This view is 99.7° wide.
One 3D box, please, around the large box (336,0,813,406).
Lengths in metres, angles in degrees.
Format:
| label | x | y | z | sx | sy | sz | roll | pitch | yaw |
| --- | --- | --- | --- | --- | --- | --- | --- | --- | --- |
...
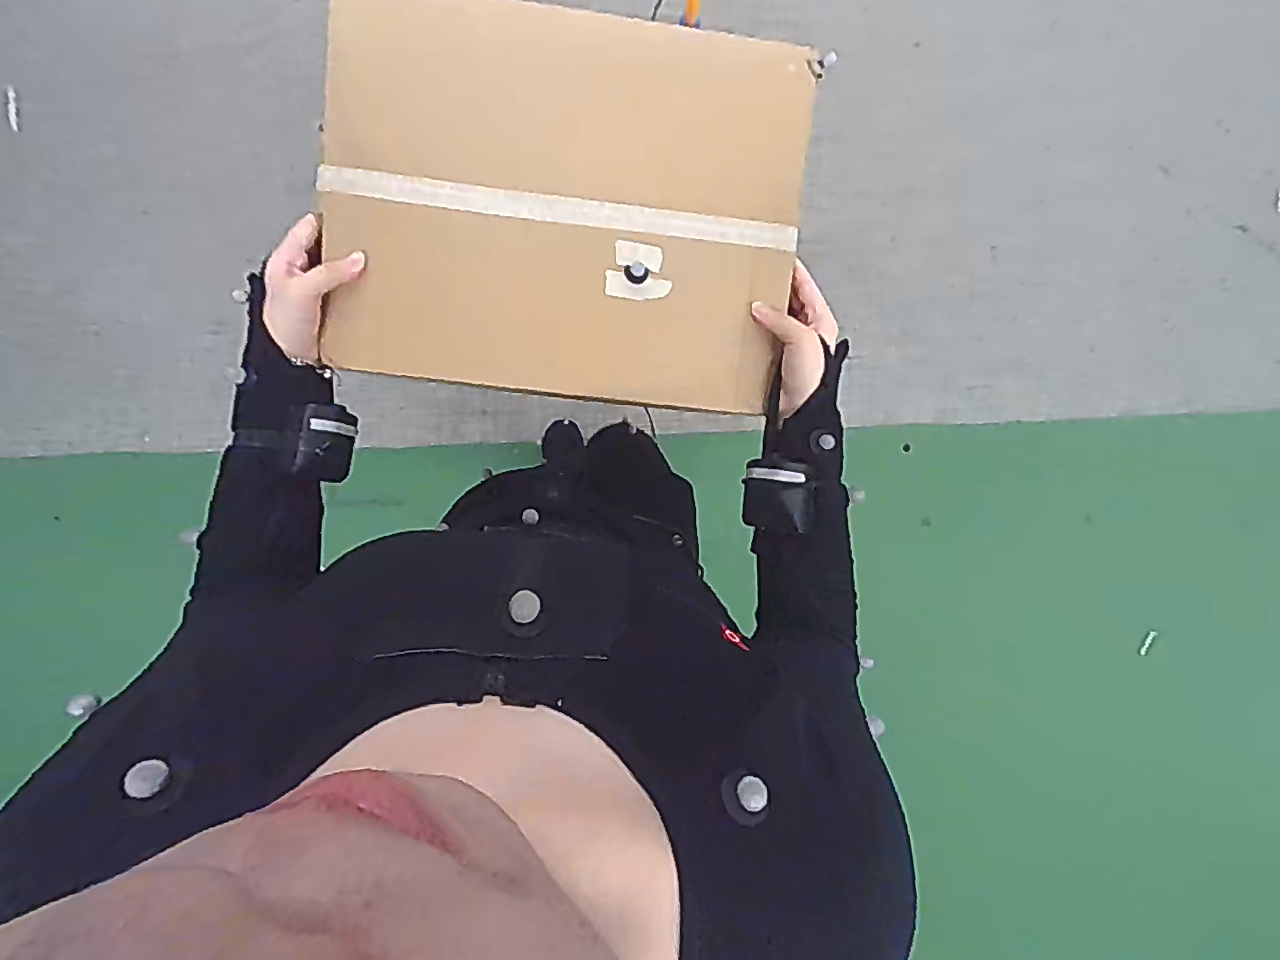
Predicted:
| label | x | y | z | sx | sy | sz | roll | pitch | yaw |
| --- | --- | --- | --- | --- | --- | --- | --- | --- | --- |
| large box | -0.070 | -0.258 | 0.623 | 0.408 | 0.320 | 0.320 | 6 | 98 | -5 |
